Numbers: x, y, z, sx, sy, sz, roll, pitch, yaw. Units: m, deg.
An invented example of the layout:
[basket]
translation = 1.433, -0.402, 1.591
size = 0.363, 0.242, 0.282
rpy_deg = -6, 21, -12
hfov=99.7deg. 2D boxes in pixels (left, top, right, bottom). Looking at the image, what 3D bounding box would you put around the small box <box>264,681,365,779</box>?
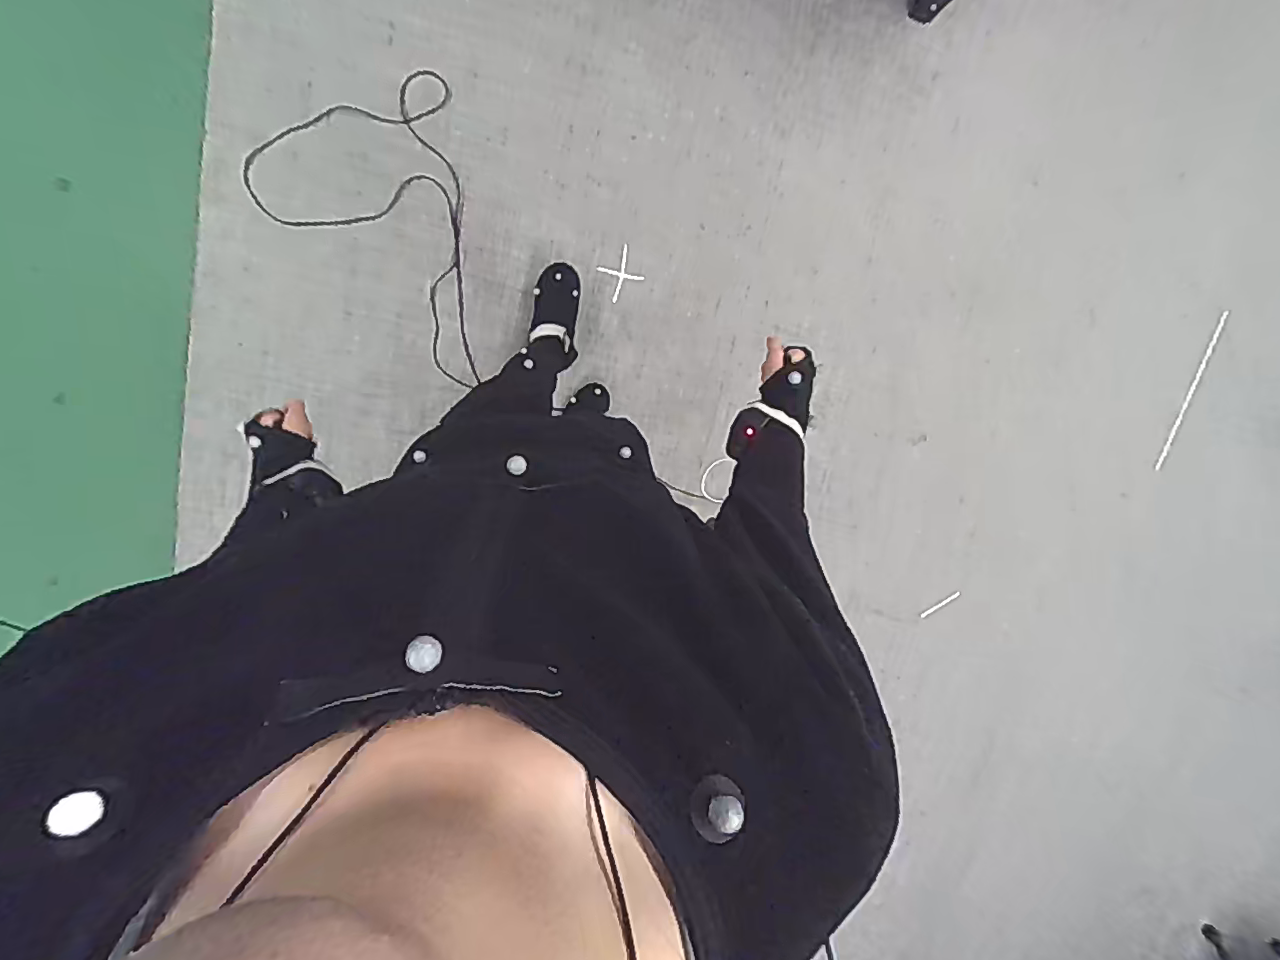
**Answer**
[small box]
translation = -0.851, 0.654, 1.429
size = 0.179, 0.176, 0.168
rpy_deg = 11, 100, -9
